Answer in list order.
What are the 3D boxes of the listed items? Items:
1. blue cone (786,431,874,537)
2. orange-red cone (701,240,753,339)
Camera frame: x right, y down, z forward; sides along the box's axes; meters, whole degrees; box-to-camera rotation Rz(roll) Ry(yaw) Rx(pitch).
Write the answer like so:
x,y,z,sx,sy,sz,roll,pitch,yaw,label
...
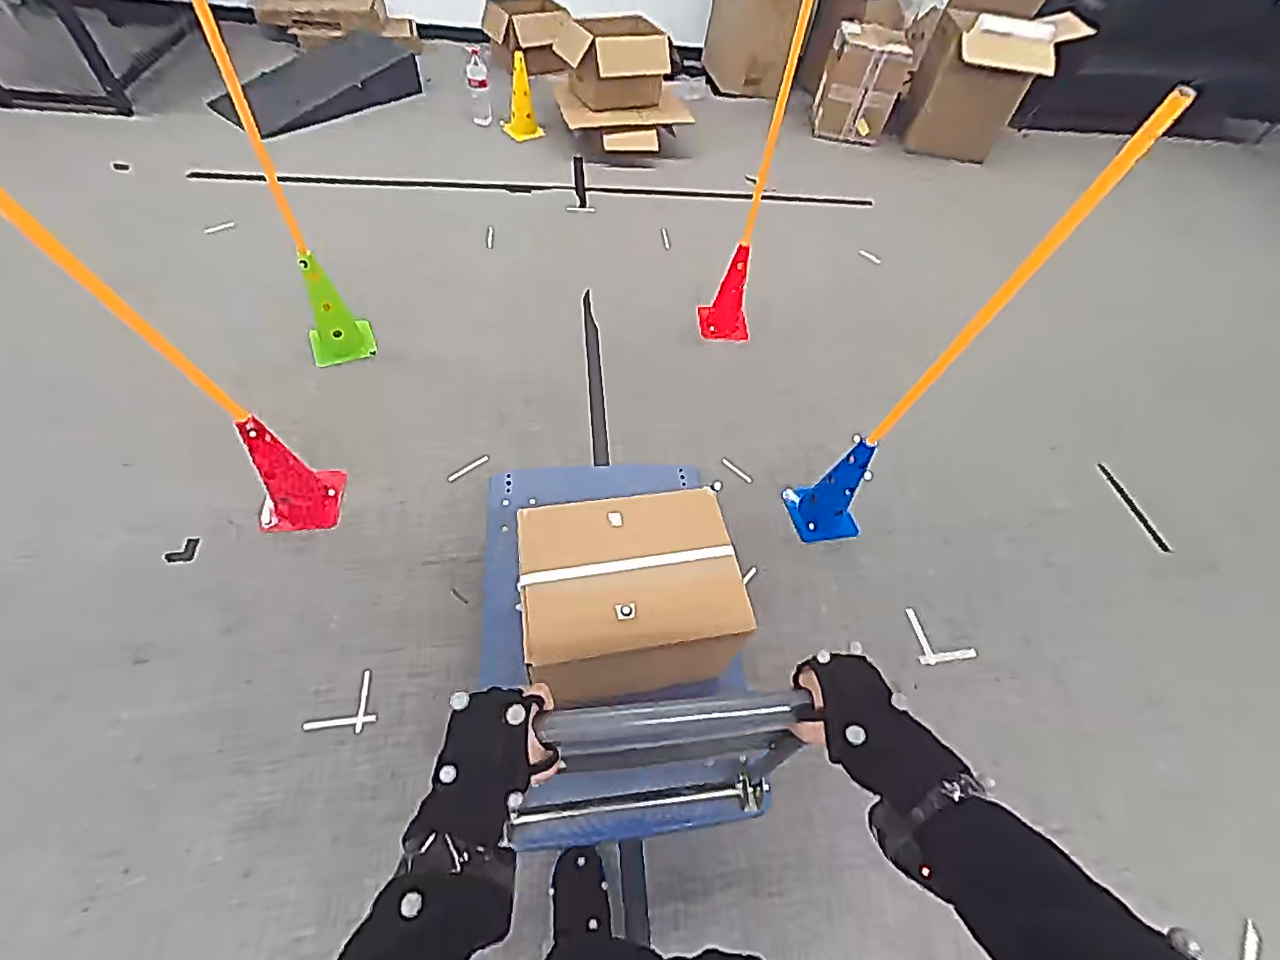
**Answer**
x,y,z,sx,sy,sz,roll,pitch,yaw,label
0.594,0.000,1.591,0.193,0.380,0.192,-5,55,-11,blue cone
0.367,-0.744,2.067,0.199,0.360,0.198,4,55,-6,orange-red cone
